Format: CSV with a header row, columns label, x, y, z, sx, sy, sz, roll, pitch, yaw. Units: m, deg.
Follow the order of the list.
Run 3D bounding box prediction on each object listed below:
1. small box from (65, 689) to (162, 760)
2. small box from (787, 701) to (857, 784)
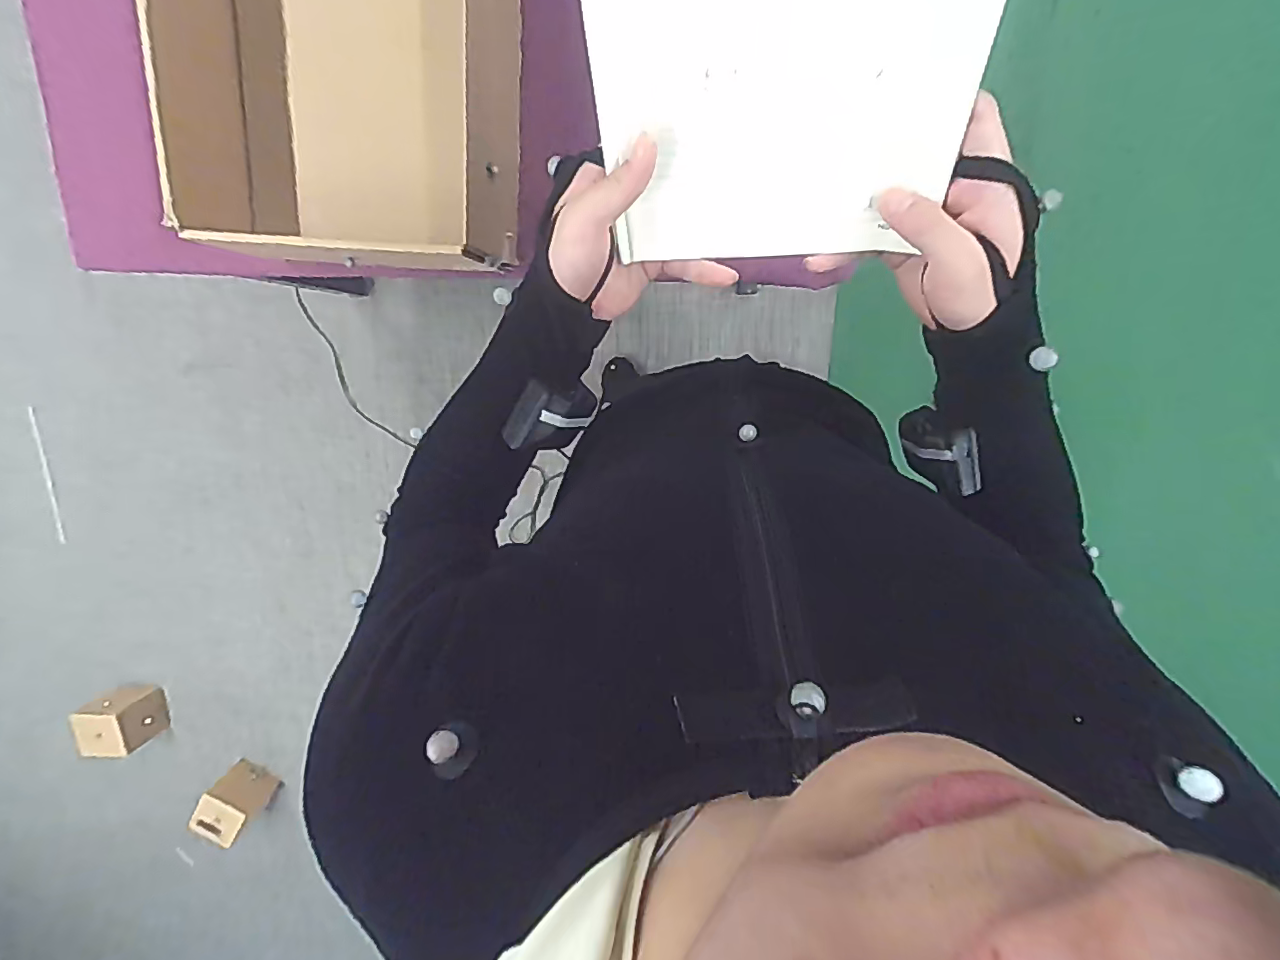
label,x,y,z,sx,sy,sz,roll,pitch,yaw
small box,-1.832,0.853,1.897,0.179,0.176,0.168,-1,102,5
small box,0.564,0.811,1.689,0.168,0.176,0.179,-8,101,6
